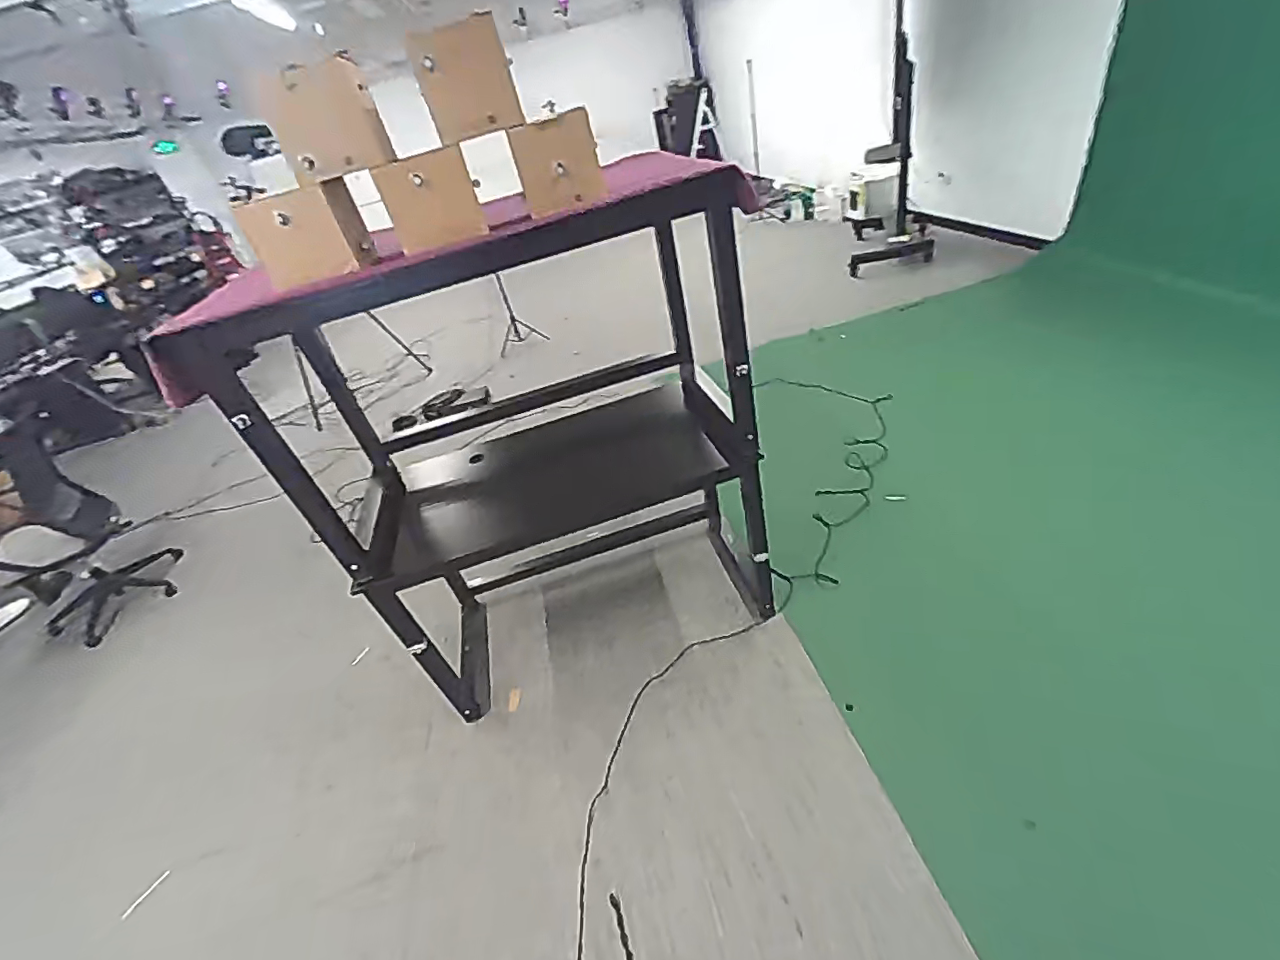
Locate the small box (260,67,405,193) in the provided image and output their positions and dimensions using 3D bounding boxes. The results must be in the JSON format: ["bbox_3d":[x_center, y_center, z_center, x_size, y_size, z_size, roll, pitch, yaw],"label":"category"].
[{"bbox_3d":[-0.580,-0.671,1.050,0.168,0.176,0.179,-17,34,-3],"label":"small box"}]

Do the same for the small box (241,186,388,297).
[{"bbox_3d":[-0.662,-0.495,1.125,0.179,0.176,0.168,-15,35,-1],"label":"small box"}]

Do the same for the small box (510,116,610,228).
[{"bbox_3d":[-0.171,-0.657,1.159,0.168,0.176,0.179,-17,36,-2],"label":"small box"}]

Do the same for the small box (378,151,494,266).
[{"bbox_3d":[-0.417,-0.573,1.141,0.179,0.176,0.168,-20,35,-5],"label":"small box"}]
